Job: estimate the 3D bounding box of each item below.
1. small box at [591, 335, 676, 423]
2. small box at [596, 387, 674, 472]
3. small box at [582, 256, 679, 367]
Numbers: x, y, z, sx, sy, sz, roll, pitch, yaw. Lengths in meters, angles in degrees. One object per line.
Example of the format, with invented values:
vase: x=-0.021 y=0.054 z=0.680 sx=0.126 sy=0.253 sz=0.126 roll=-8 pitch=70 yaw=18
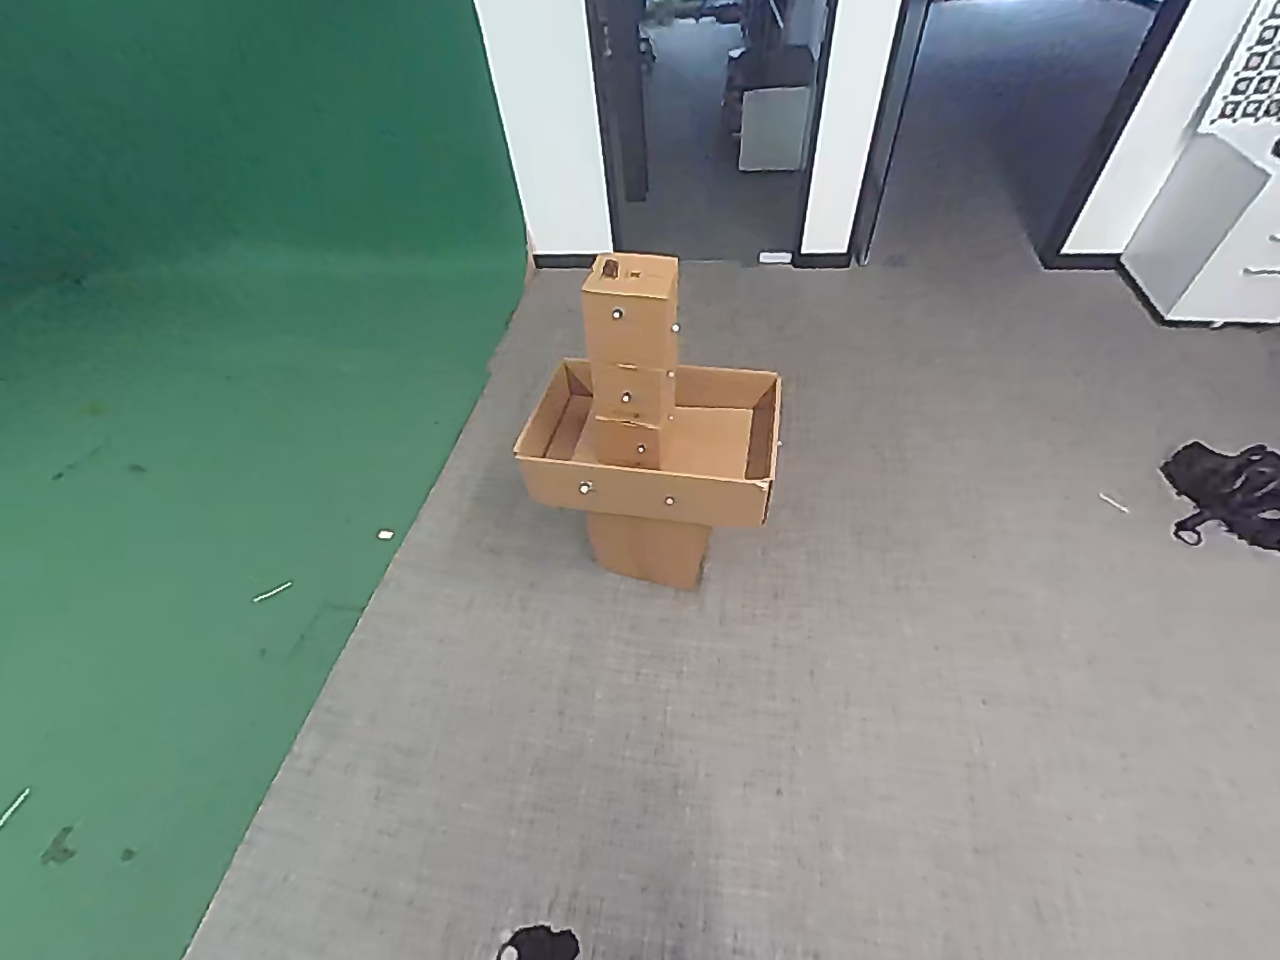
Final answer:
small box: x=-0.009 y=-0.257 z=1.302 sx=0.168 sy=0.176 sz=0.179 roll=10 pitch=51 yaw=10
small box: x=-0.007 y=-0.142 z=1.419 sx=0.168 sy=0.176 sz=0.179 roll=10 pitch=48 yaw=10
small box: x=-0.015 y=-0.364 z=1.176 sx=0.179 sy=0.176 sz=0.168 roll=8 pitch=50 yaw=7
